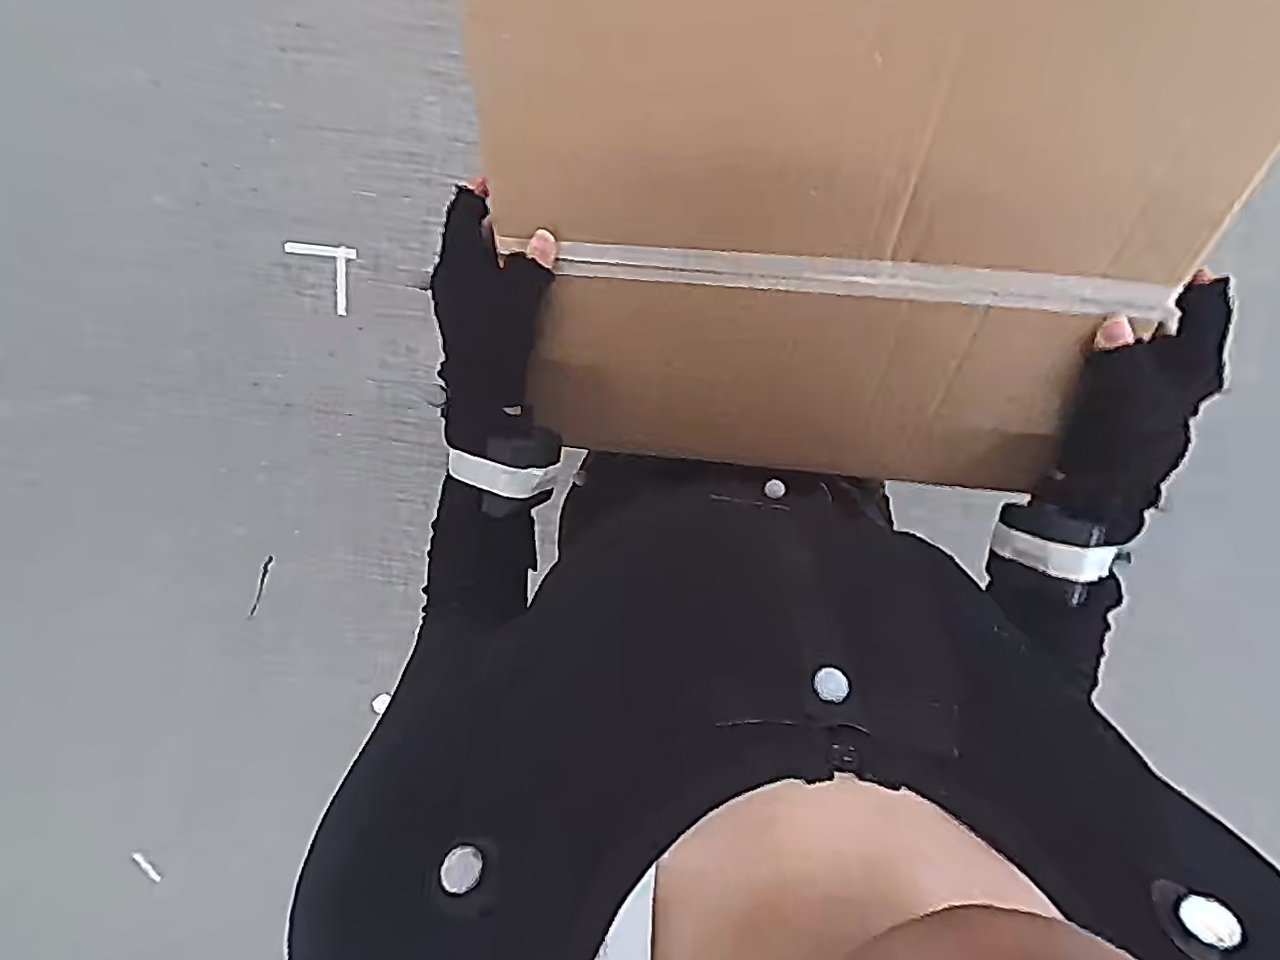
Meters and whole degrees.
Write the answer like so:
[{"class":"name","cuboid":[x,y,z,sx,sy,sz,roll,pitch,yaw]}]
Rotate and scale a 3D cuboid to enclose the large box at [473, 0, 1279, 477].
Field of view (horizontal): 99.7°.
[{"class":"large box","cuboid":[0.124,-0.231,0.453,0.408,0.320,0.320,6,133,4]}]
